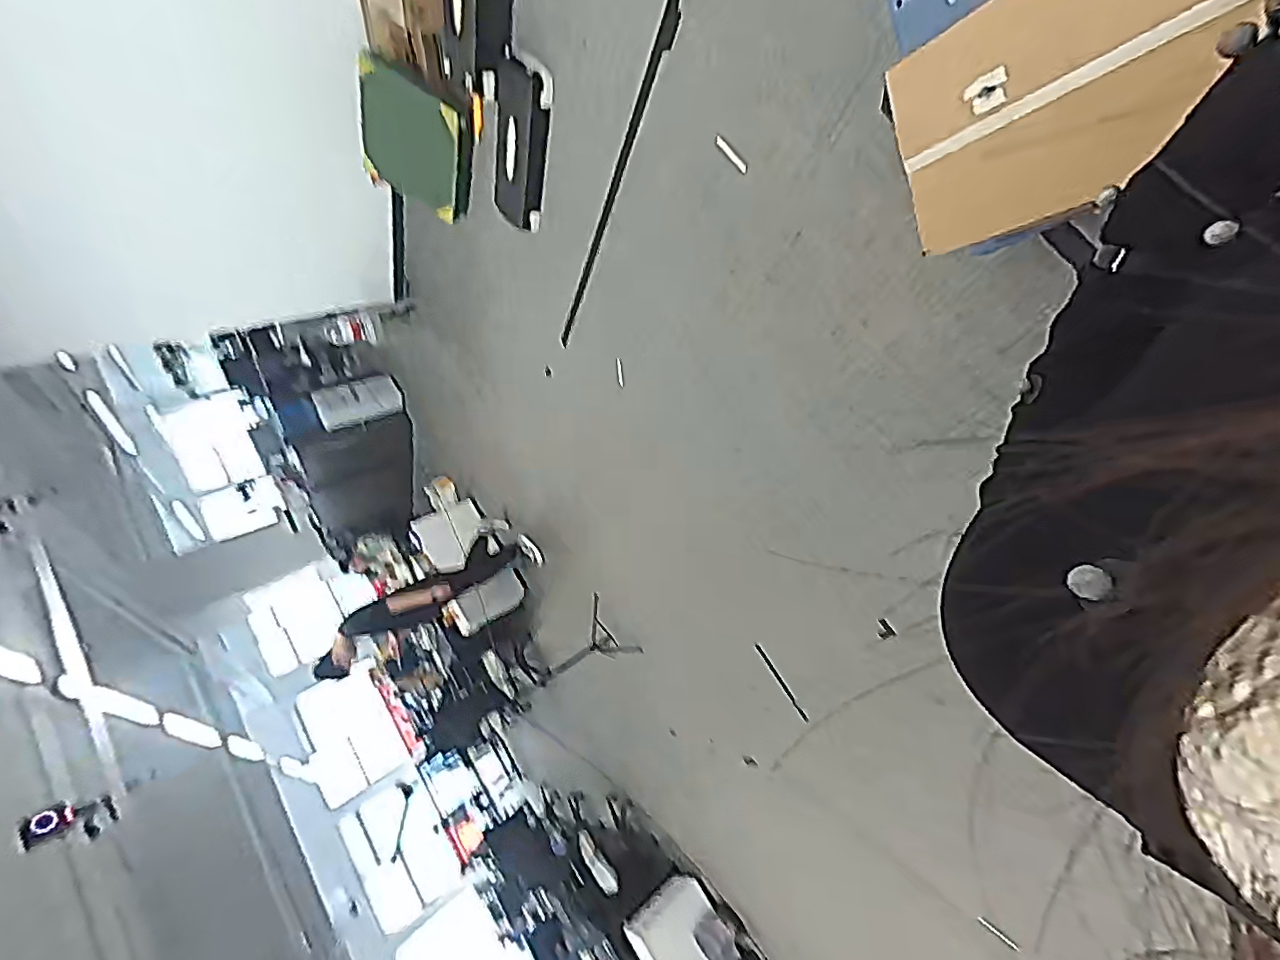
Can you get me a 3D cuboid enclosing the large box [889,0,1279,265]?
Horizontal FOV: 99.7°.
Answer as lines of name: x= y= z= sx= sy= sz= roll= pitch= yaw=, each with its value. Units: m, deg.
large box: x=0.681 y=-0.580 z=0.832 sx=0.408 sy=0.320 sz=0.320 roll=-4 pitch=107 yaw=55
